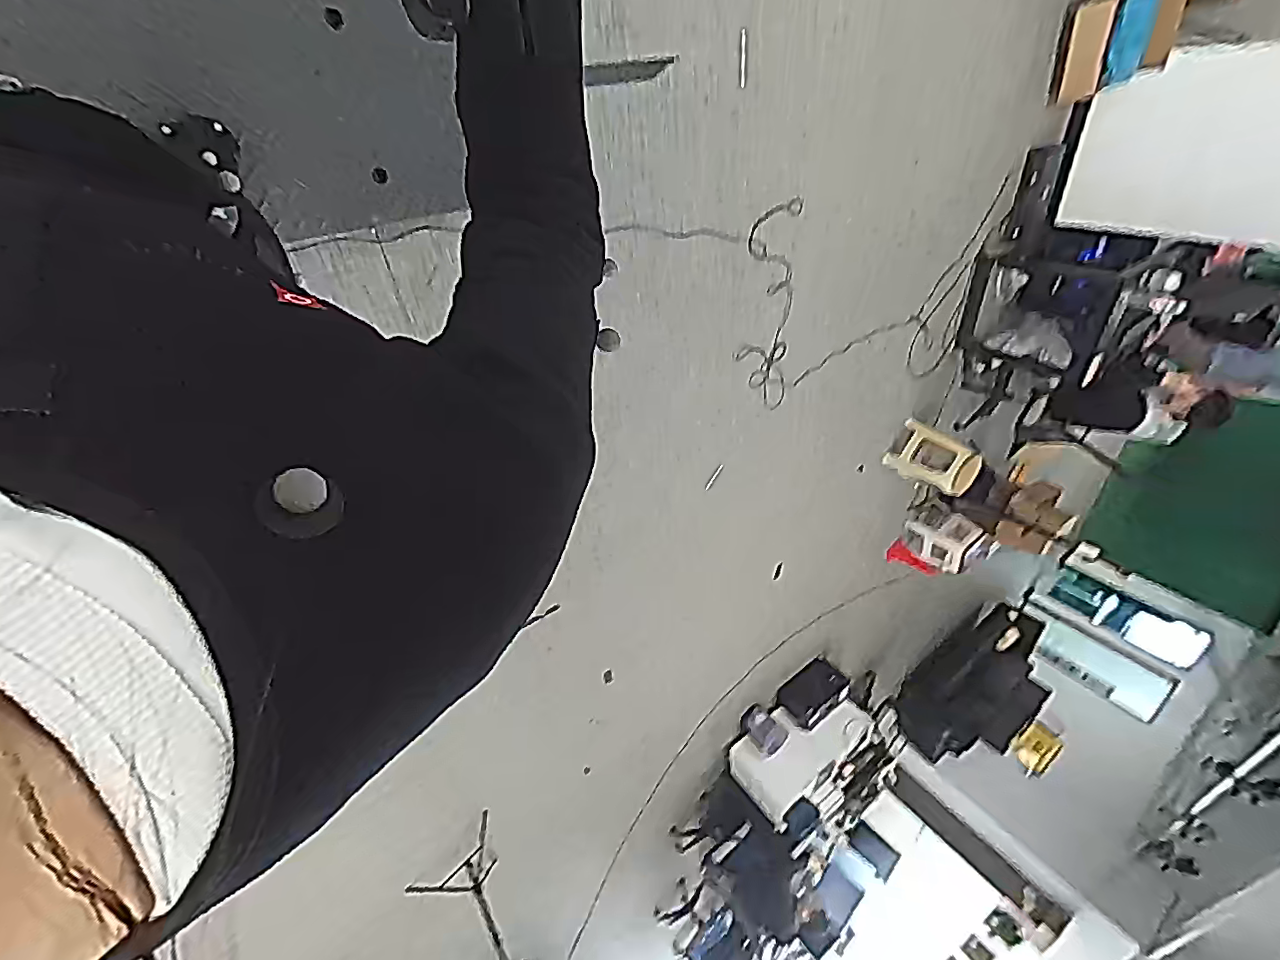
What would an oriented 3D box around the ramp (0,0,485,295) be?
[{"bbox_3d":[-0.785,-0.741,1.067,0.991,0.206,0.509,-27,130,-26],"label":"ramp"}]
